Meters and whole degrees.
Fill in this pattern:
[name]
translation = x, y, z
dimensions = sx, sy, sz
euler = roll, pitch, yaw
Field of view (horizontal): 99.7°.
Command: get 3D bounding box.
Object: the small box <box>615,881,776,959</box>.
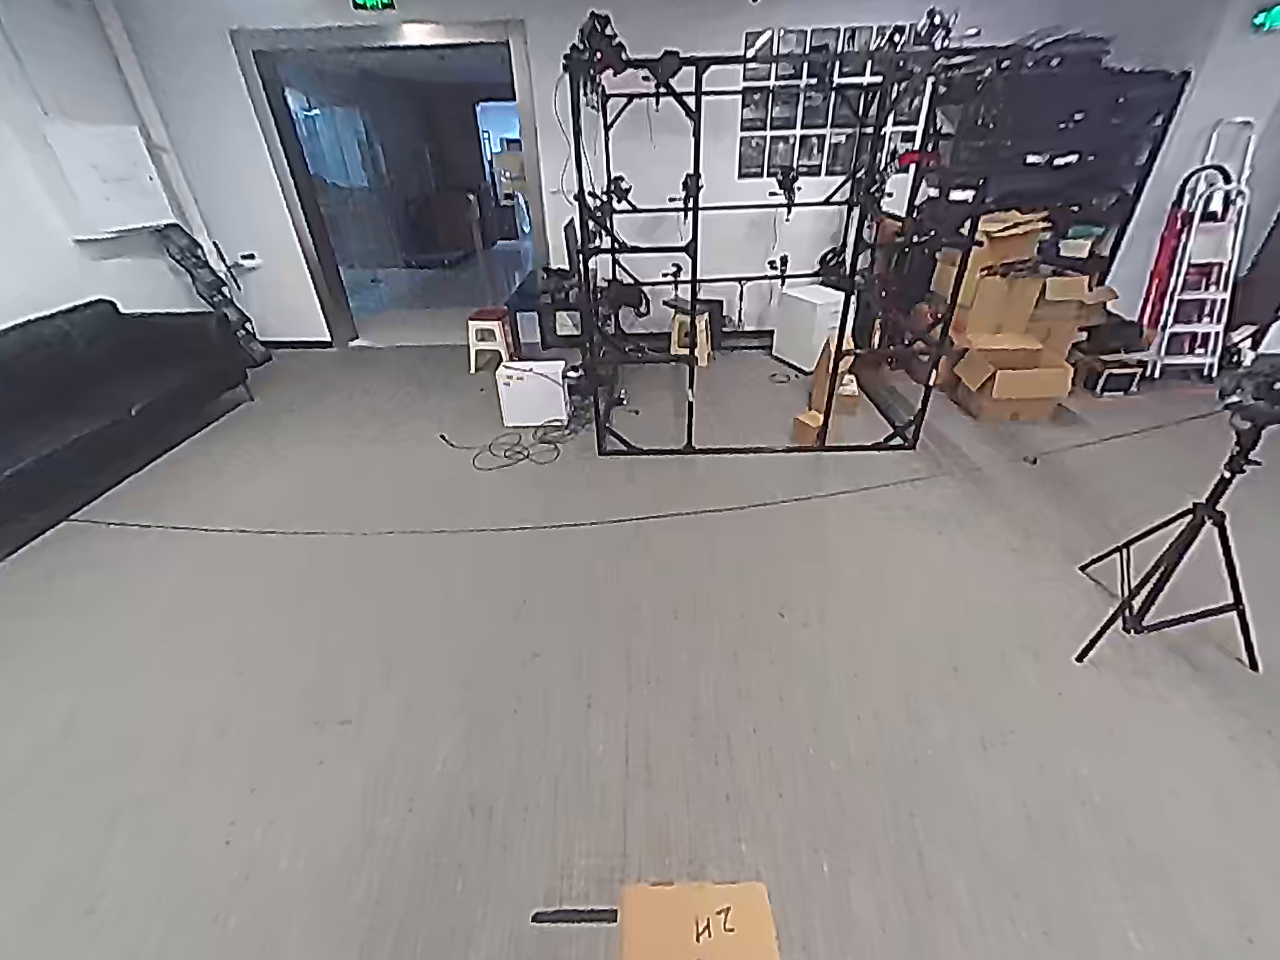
[small box]
translation = 0.056, 0.574, 0.592
dimensions = 0.168, 0.176, 0.179
euler = 2, 34, -4
